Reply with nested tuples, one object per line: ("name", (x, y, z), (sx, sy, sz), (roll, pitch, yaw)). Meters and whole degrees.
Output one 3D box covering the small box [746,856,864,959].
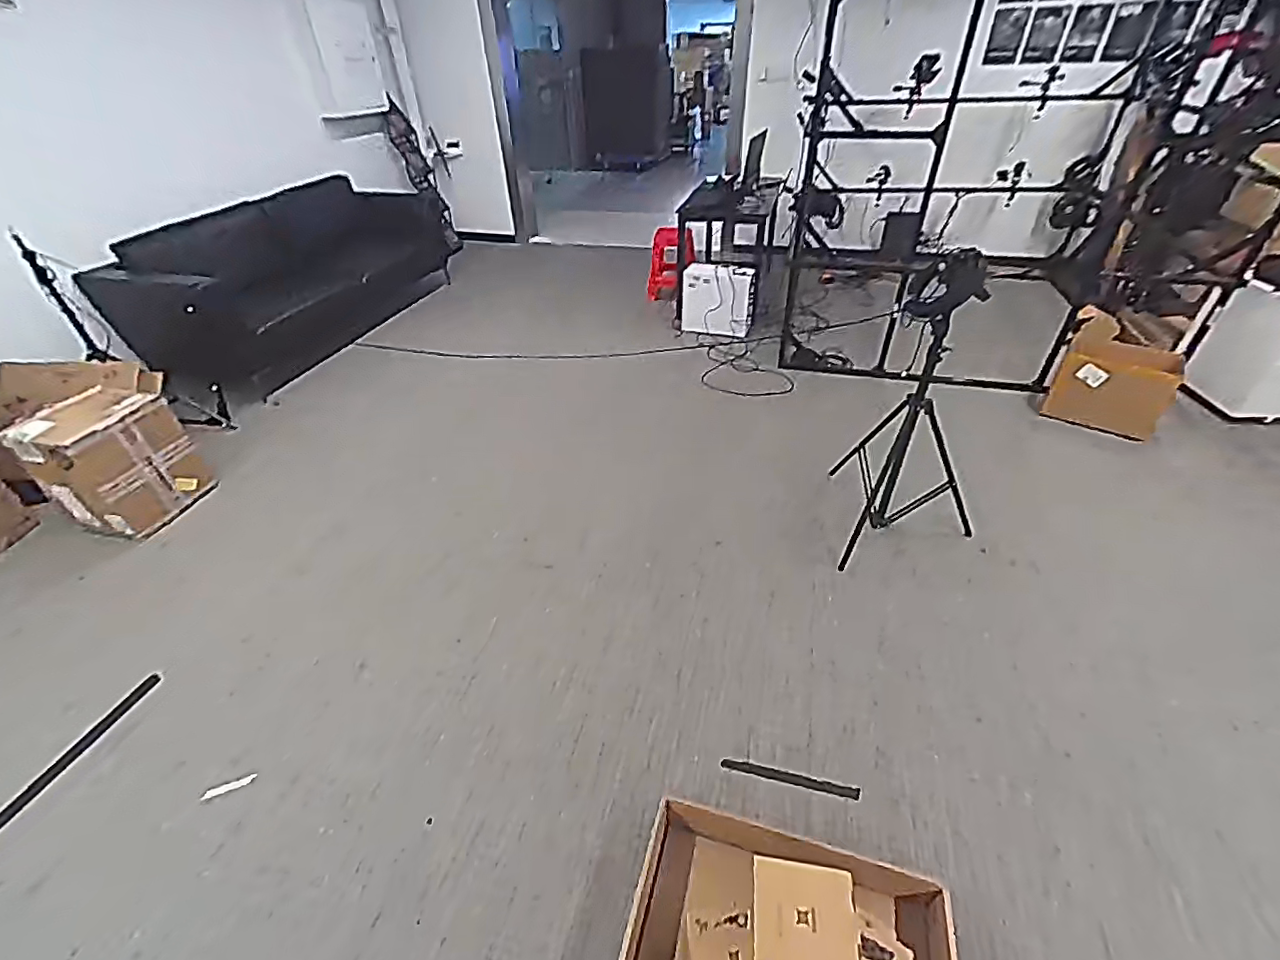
("small box", (0.288, 0.813, 0.971), (0.179, 0.176, 0.168), (4, 37, 9))
